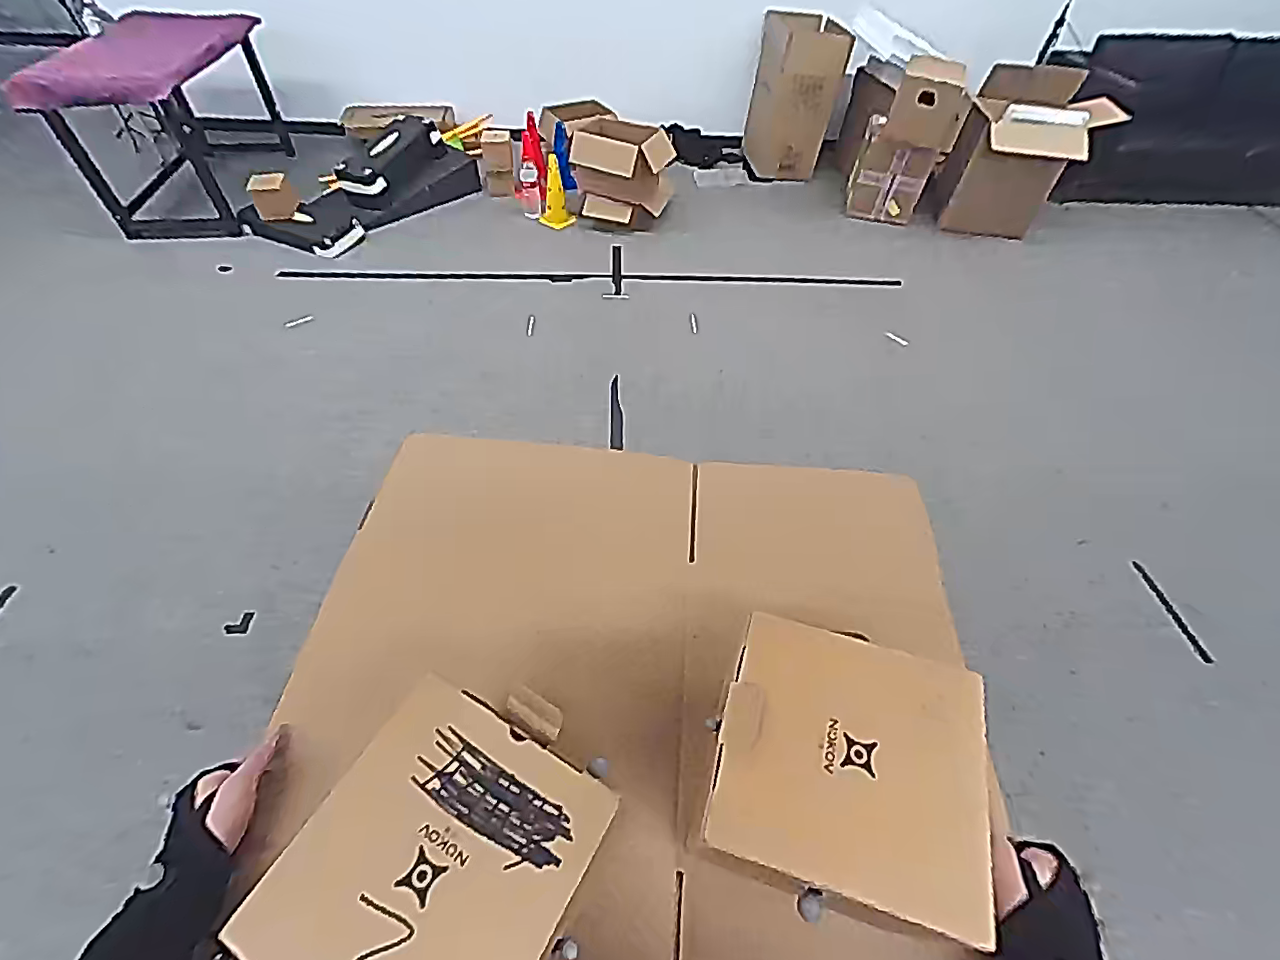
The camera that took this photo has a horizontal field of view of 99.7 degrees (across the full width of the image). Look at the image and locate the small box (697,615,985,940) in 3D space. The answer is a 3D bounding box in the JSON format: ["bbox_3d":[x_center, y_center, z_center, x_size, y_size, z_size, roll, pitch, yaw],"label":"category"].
[{"bbox_3d":[0.153,0.240,0.449,0.179,0.176,0.168,13,55,13],"label":"small box"}]
